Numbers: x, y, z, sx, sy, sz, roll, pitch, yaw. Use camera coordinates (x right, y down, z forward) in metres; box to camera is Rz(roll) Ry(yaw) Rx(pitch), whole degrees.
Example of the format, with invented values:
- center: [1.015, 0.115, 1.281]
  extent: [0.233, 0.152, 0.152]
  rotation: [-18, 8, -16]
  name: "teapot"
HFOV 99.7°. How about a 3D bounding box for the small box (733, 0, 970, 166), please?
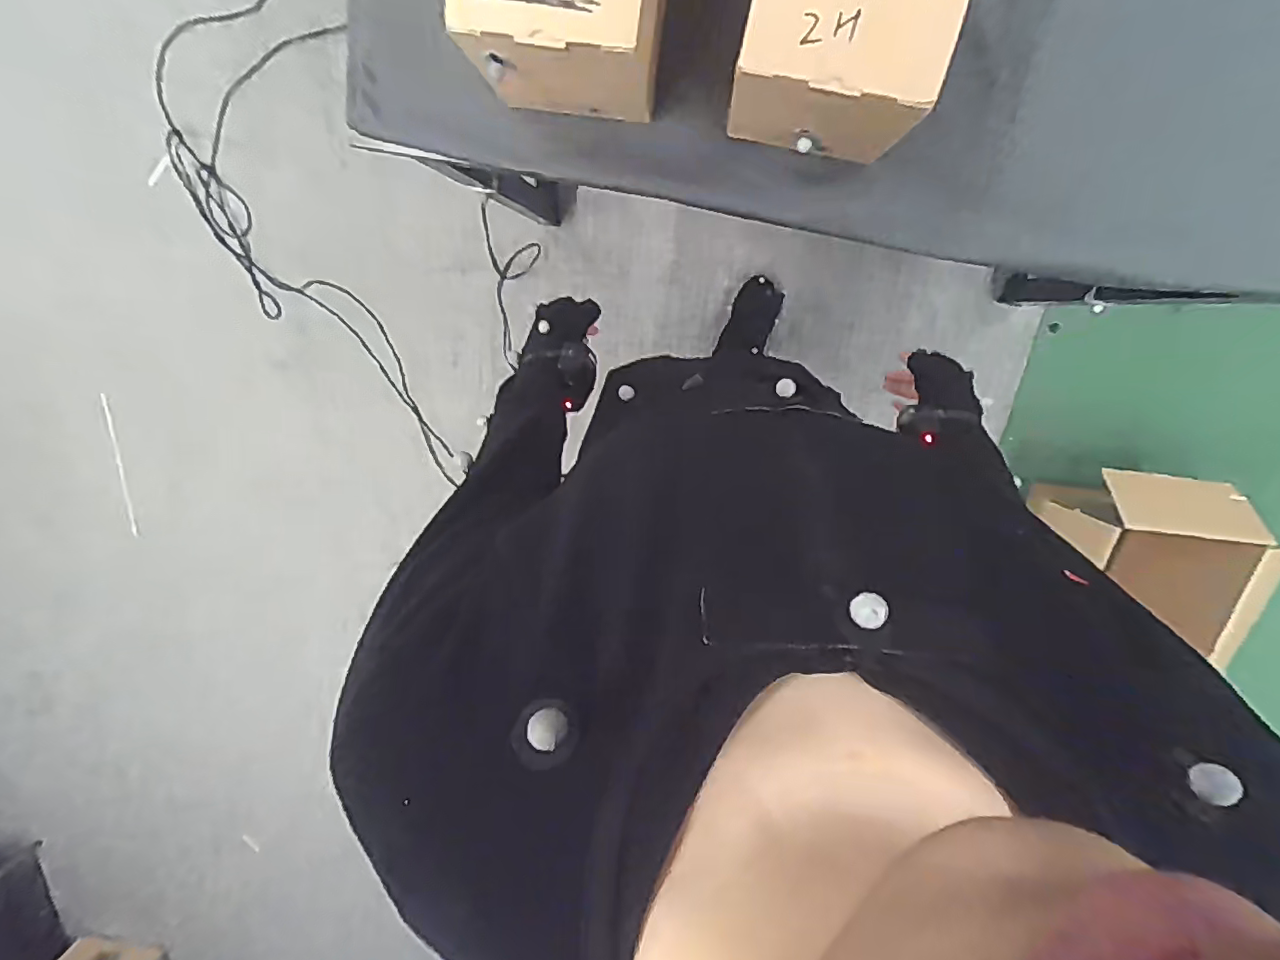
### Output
- center: [0.187, -0.422, 0.500]
  extent: [0.168, 0.176, 0.179]
  rotation: [13, 107, 2]
  name: "small box"
